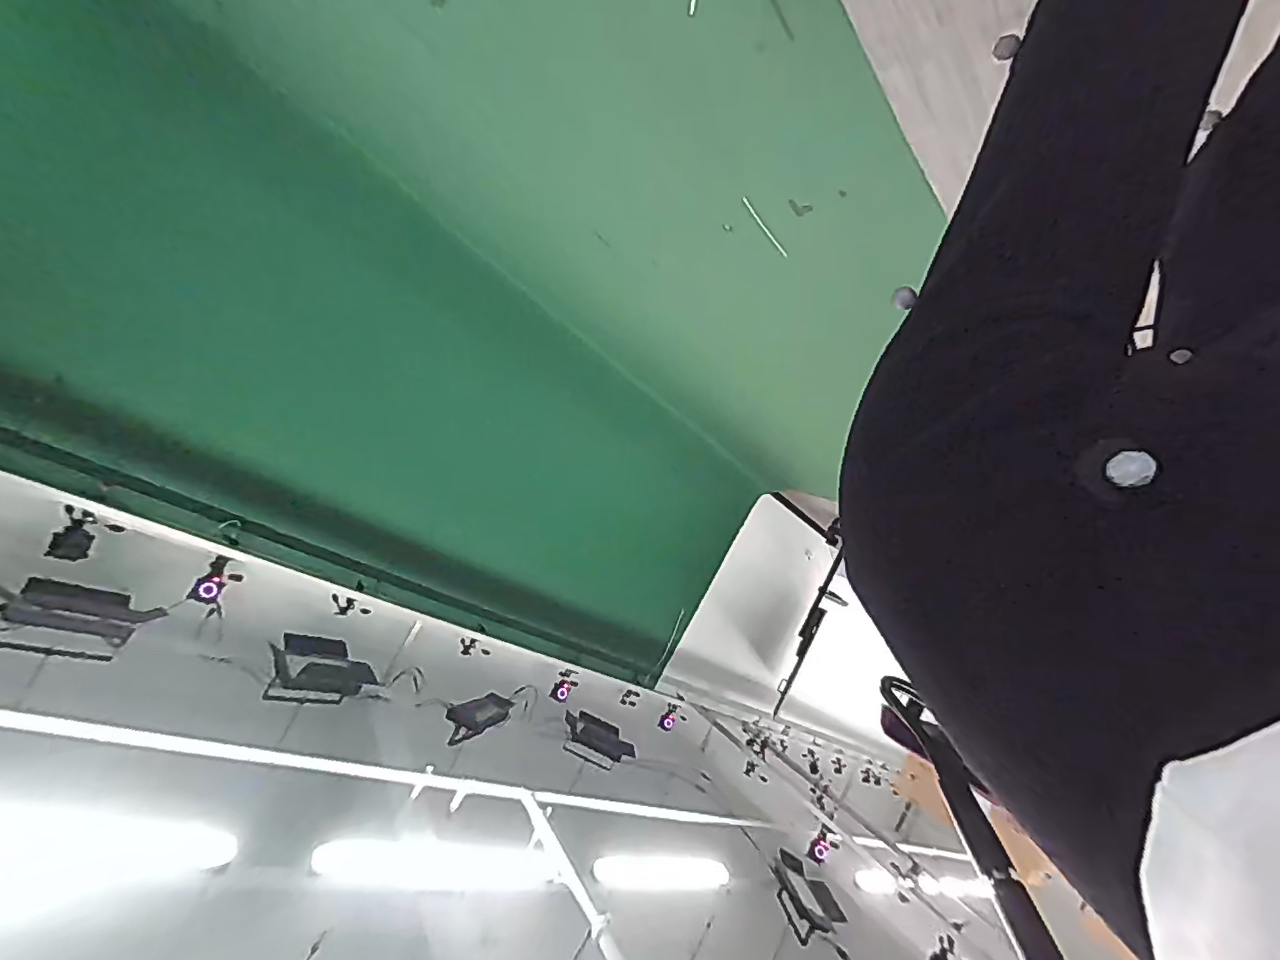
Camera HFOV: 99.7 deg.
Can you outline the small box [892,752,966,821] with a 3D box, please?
[{"bbox_3d":[1.106,1.166,2.066,0.179,0.176,0.168,32,174,-36],"label":"small box"}]
